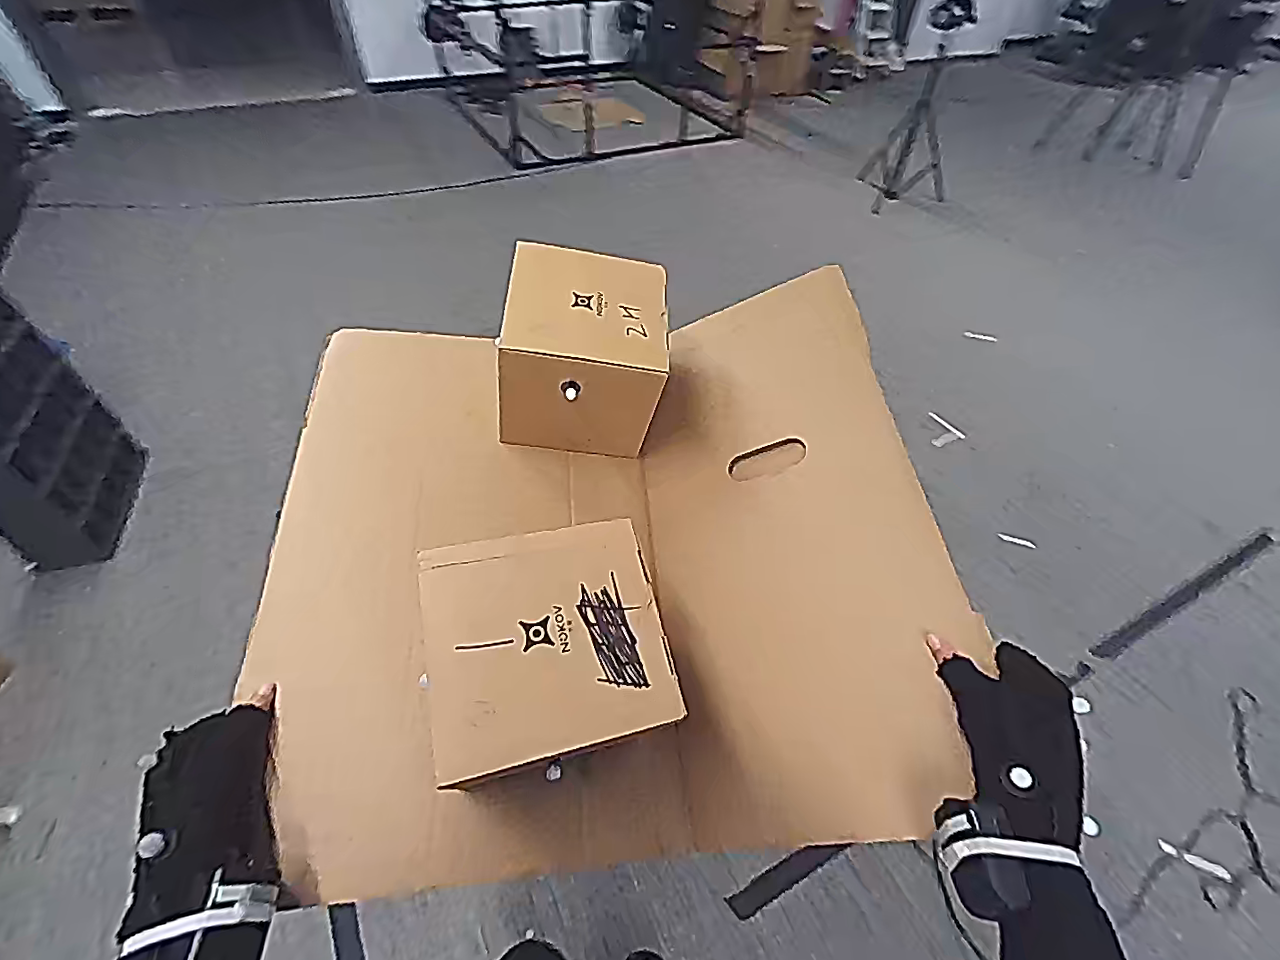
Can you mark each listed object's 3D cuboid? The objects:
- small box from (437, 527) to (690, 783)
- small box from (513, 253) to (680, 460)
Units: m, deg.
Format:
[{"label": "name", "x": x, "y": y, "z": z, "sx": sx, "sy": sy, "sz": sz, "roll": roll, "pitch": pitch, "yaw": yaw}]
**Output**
[{"label": "small box", "x": -0.077, "y": 0.157, "z": 0.483, "sx": 0.179, "sy": 0.176, "sz": 0.168, "roll": -7, "pitch": 63, "yaw": -16}, {"label": "small box", "x": -0.055, "y": -0.141, "z": 0.662, "sx": 0.179, "sy": 0.176, "sz": 0.168, "roll": 8, "pitch": 59, "yaw": -9}]
